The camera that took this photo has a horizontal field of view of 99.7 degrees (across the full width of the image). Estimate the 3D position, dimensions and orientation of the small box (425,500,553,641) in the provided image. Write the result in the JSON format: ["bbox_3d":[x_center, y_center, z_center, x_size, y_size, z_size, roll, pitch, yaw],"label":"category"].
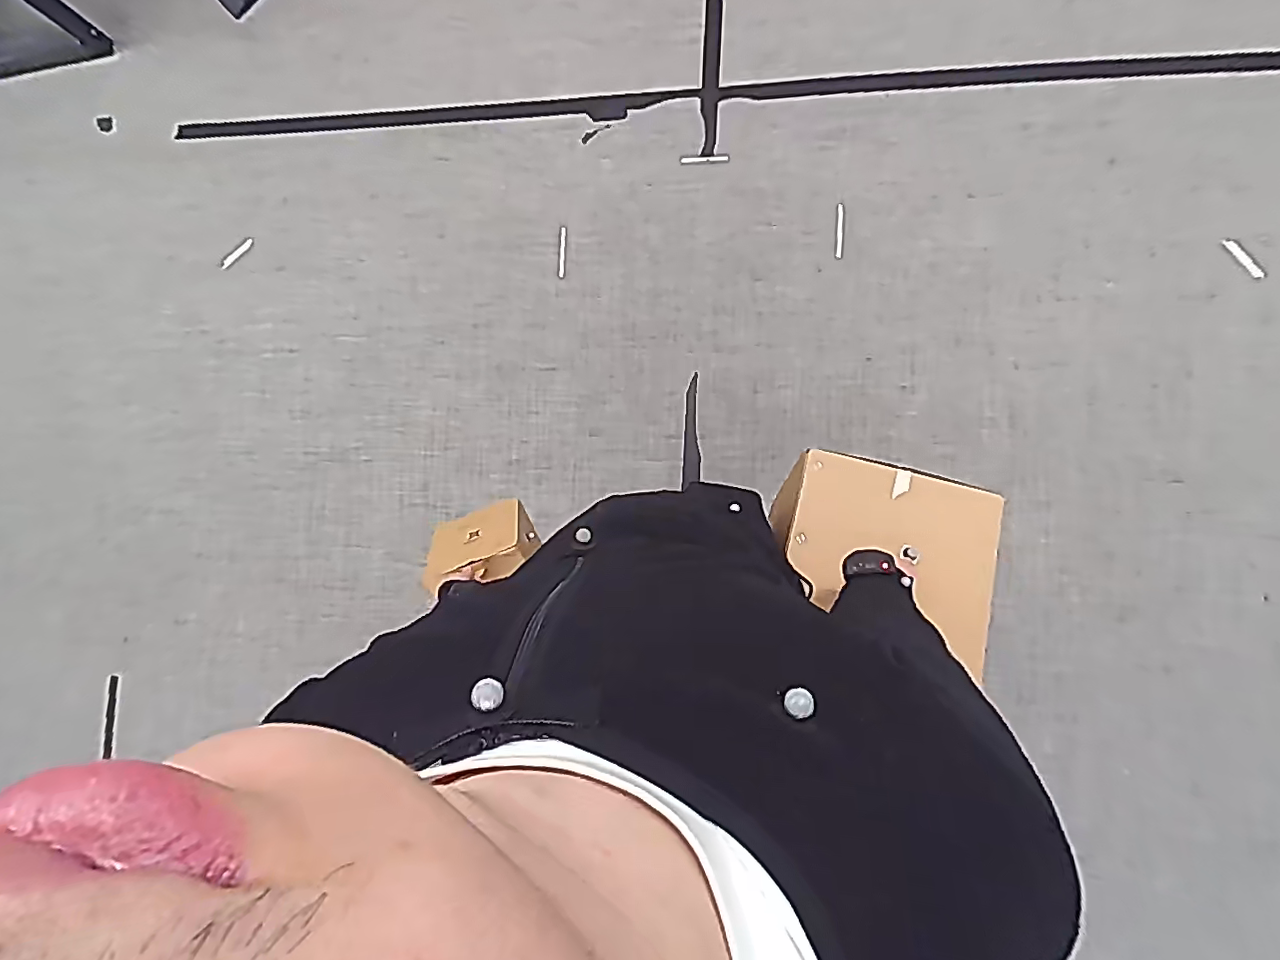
[{"bbox_3d":[-0.267,0.170,0.994,0.168,0.179,0.176,-21,118,-1],"label":"small box"}]
